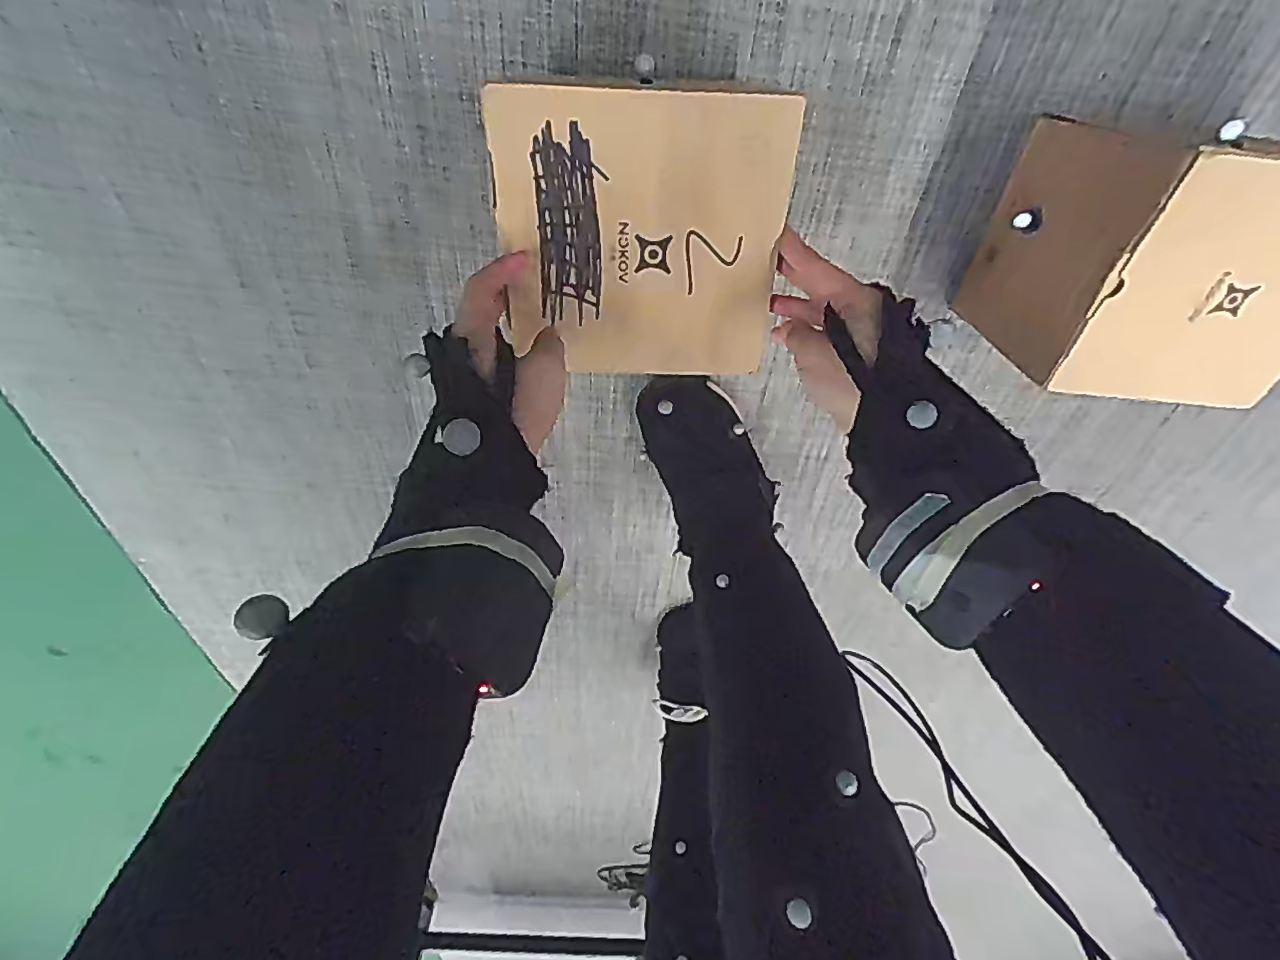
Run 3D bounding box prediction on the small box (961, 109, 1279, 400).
[{"bbox_3d":[0.408,-0.183,0.434,0.179,0.176,0.168,5,130,-3],"label":"small box"}]
